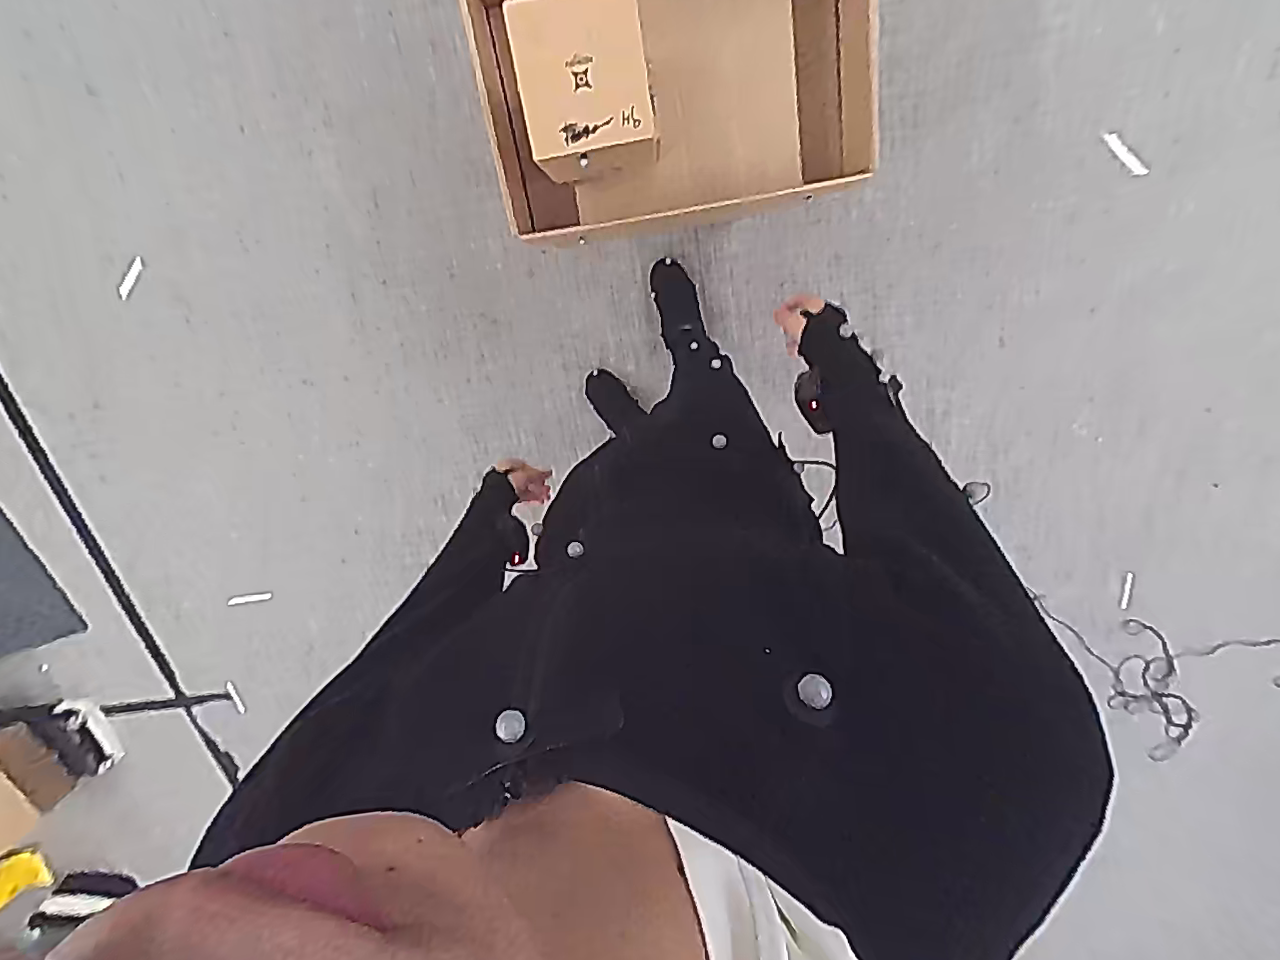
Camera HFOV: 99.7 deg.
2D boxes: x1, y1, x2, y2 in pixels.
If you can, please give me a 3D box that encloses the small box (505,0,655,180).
[{"bbox_3d":[-0.073,-0.543,0.755,0.168,0.176,0.179,-8,109,5],"label":"small box"}]
